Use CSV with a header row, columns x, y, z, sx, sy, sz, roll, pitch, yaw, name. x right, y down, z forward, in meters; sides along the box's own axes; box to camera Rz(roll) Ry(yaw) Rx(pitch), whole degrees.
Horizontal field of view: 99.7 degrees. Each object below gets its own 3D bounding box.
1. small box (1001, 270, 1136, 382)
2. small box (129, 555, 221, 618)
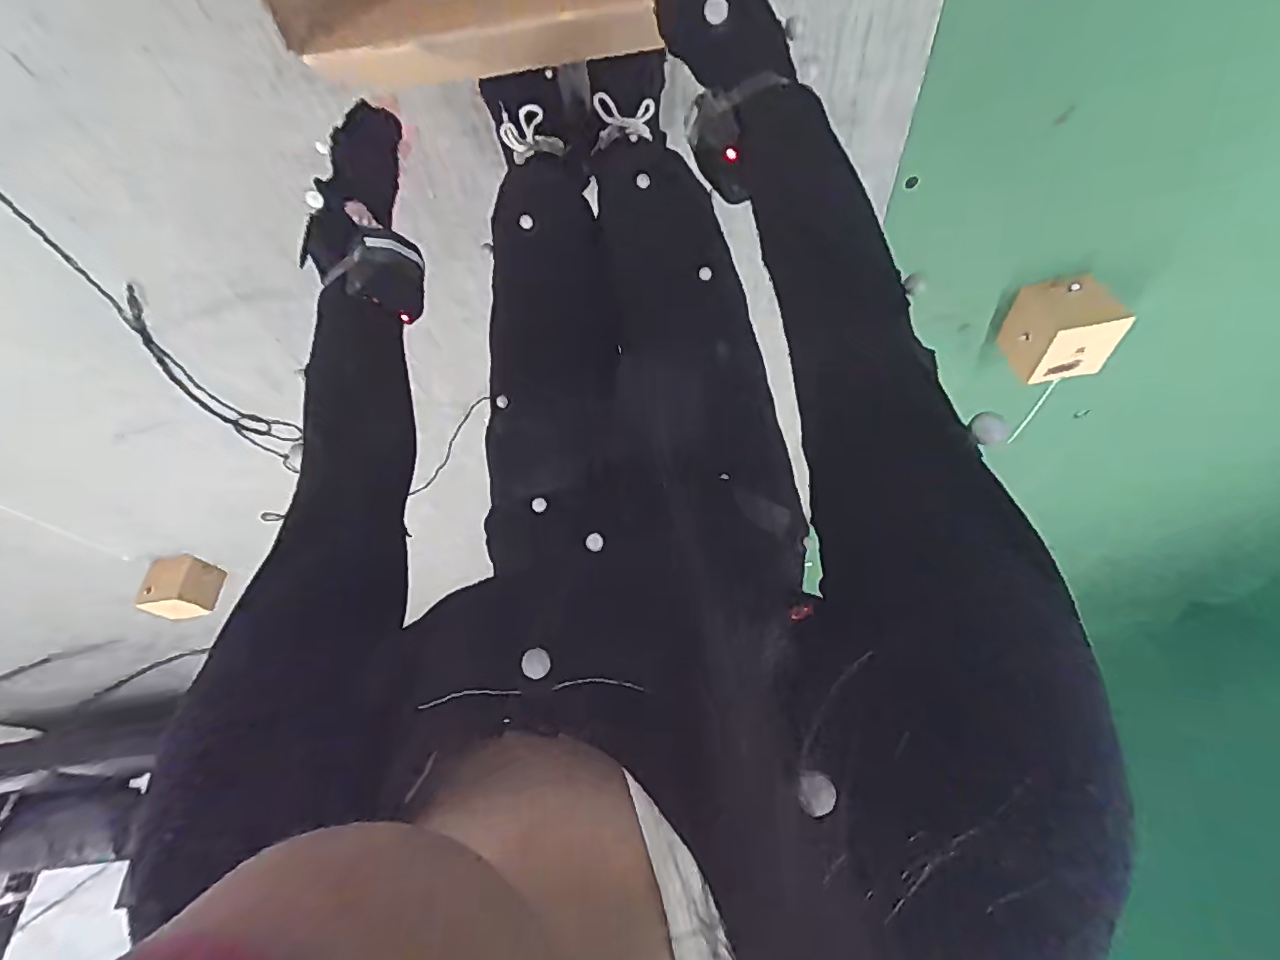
x,y,z,sx,sy,sz,roll,pitch,yaw,name
1.000,-0.365,1.287,0.168,0.176,0.179,-10,146,6,small box
-1.718,0.396,2.010,0.179,0.176,0.168,-10,148,5,small box
